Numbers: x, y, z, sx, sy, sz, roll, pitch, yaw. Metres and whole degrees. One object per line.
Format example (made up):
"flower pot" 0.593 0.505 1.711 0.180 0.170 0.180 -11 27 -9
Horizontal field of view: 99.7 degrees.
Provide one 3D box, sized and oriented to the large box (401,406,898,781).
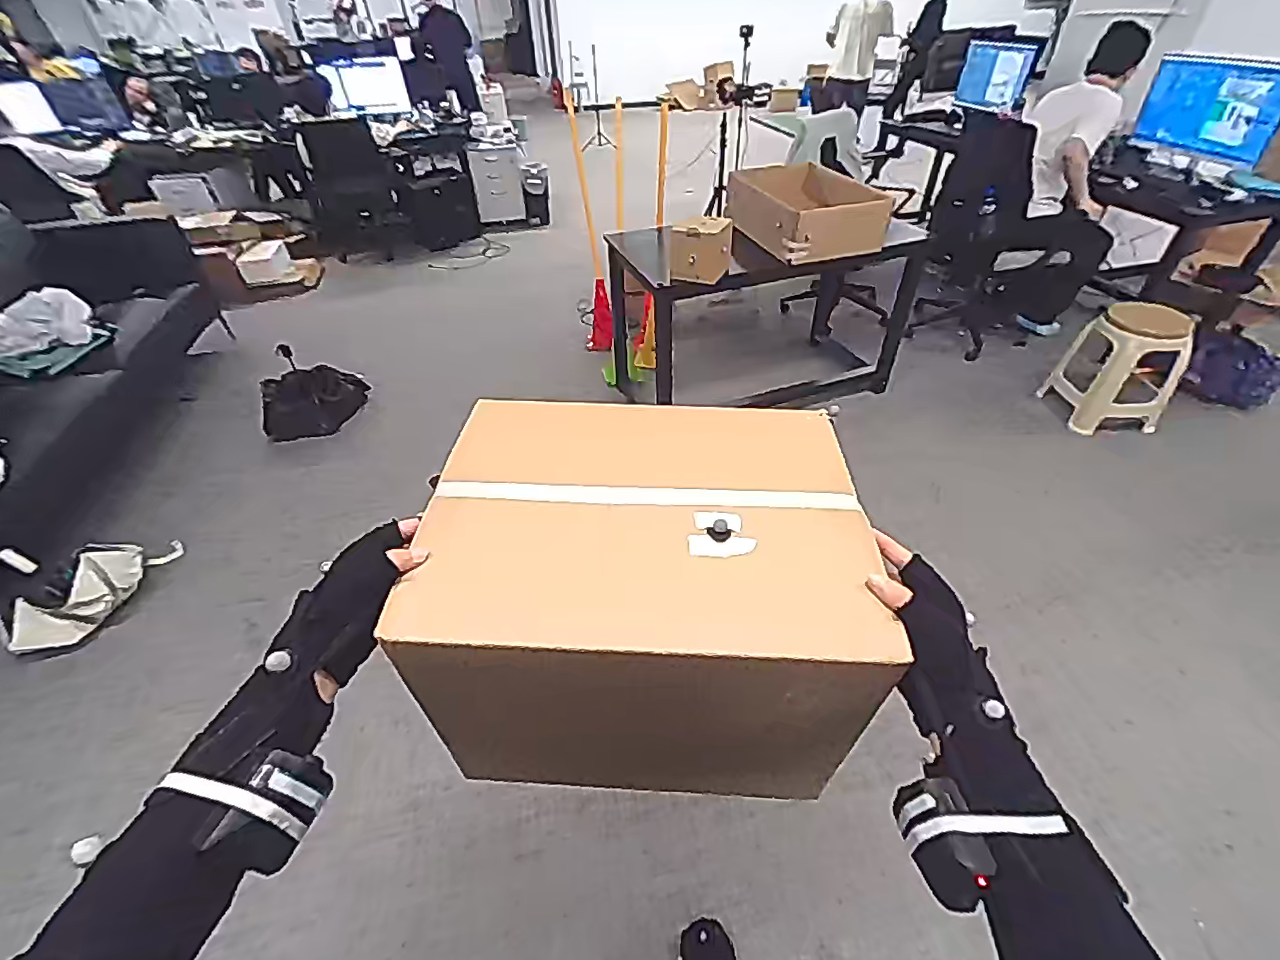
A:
"large box" 0.006 0.131 0.633 0.408 0.320 0.320 3 44 1
